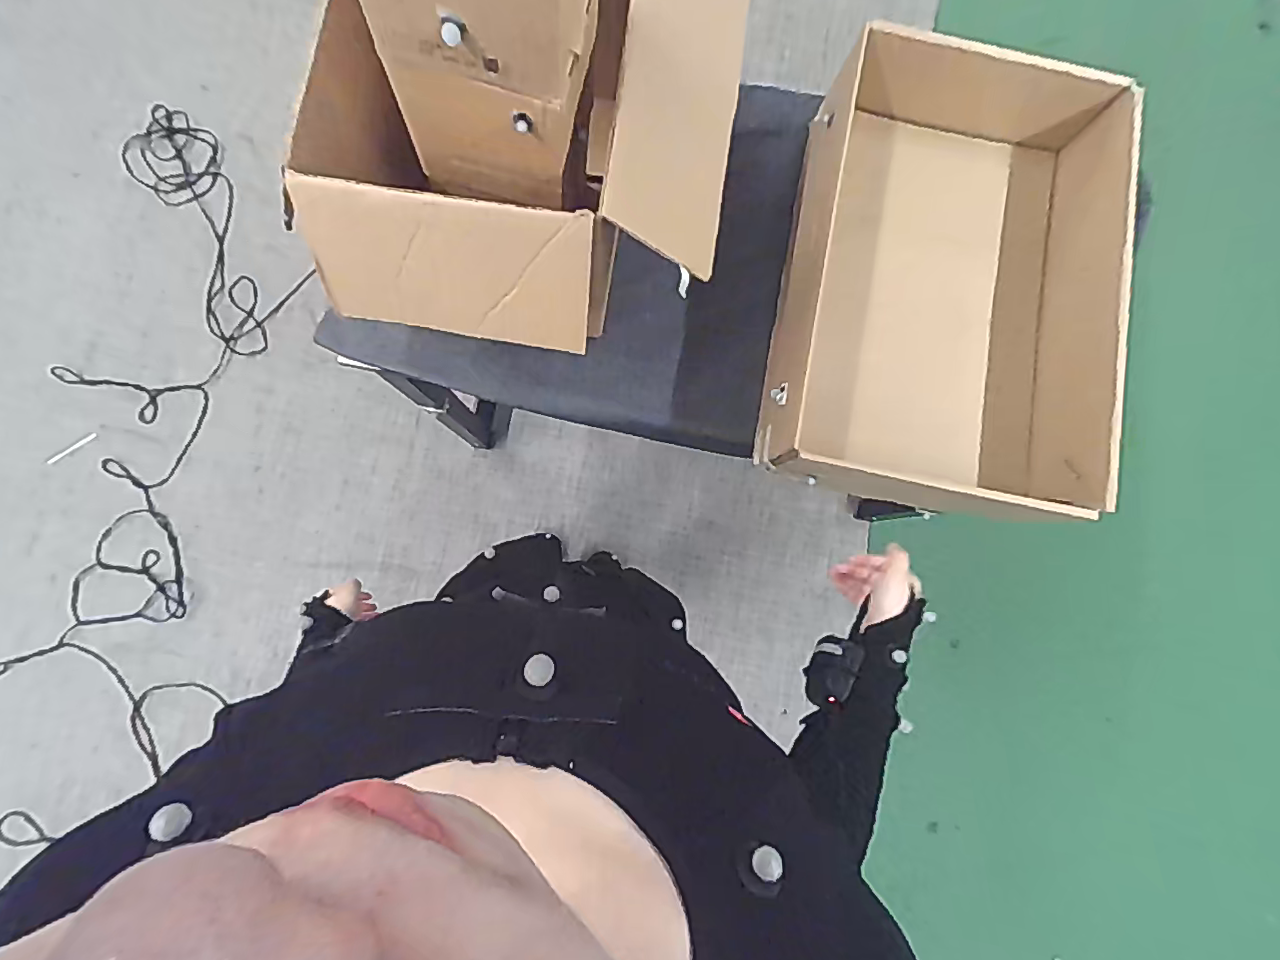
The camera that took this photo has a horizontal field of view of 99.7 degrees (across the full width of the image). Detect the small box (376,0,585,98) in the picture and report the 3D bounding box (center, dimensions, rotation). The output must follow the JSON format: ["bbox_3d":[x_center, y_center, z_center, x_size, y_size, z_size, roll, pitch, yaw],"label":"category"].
[{"bbox_3d":[-0.127,-0.464,0.432,0.168,0.176,0.179,10,82,-7],"label":"small box"}]
